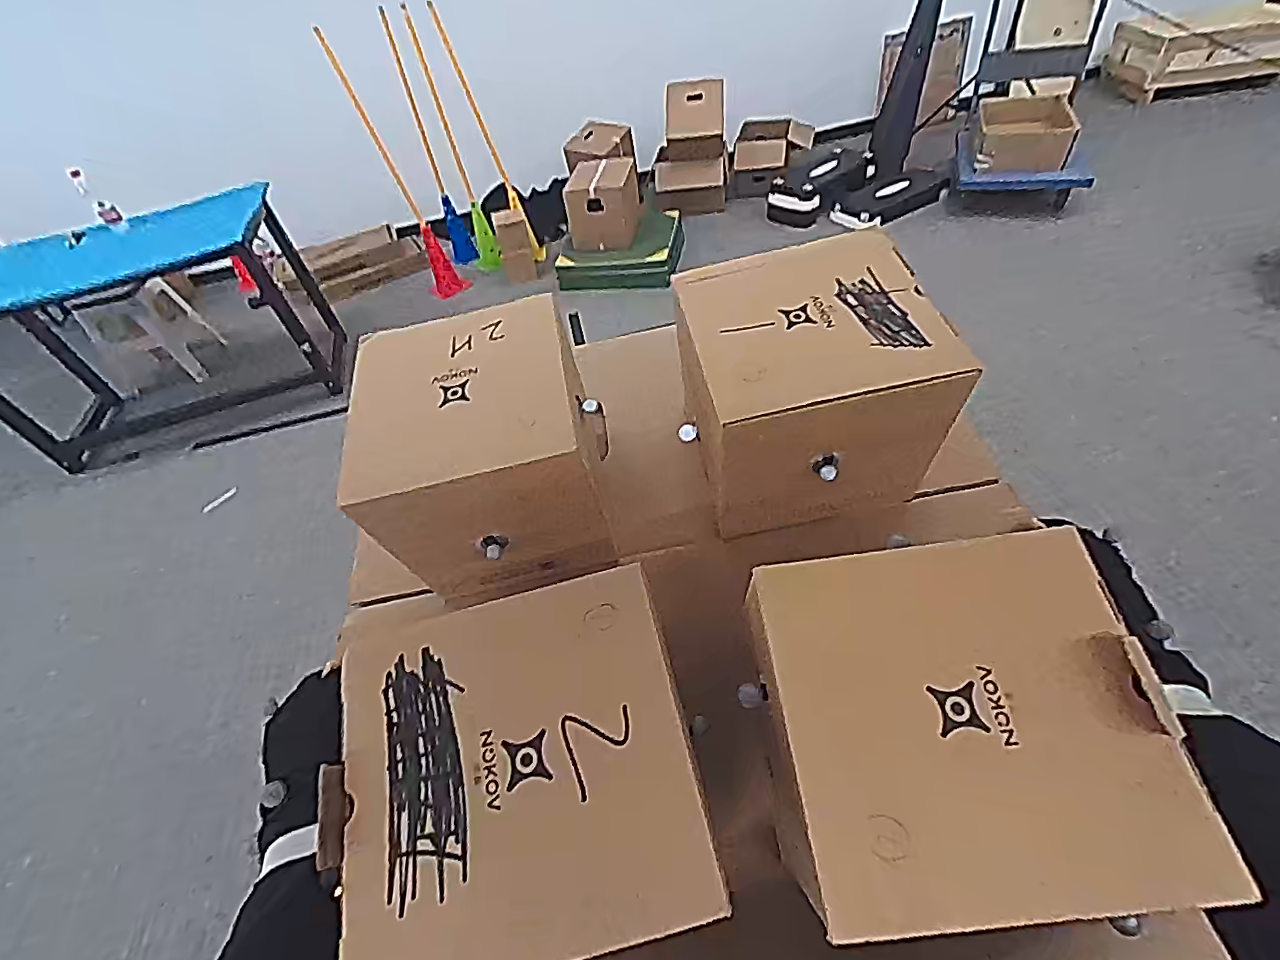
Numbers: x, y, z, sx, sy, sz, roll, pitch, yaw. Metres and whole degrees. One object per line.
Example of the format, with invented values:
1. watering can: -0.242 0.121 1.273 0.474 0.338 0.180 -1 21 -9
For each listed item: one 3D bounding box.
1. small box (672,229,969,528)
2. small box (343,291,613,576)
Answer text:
1. small box: 0.132 -0.078 0.466 0.179 0.176 0.168 -12 56 2
2. small box: -0.126 -0.029 0.477 0.168 0.176 0.179 -12 56 0
